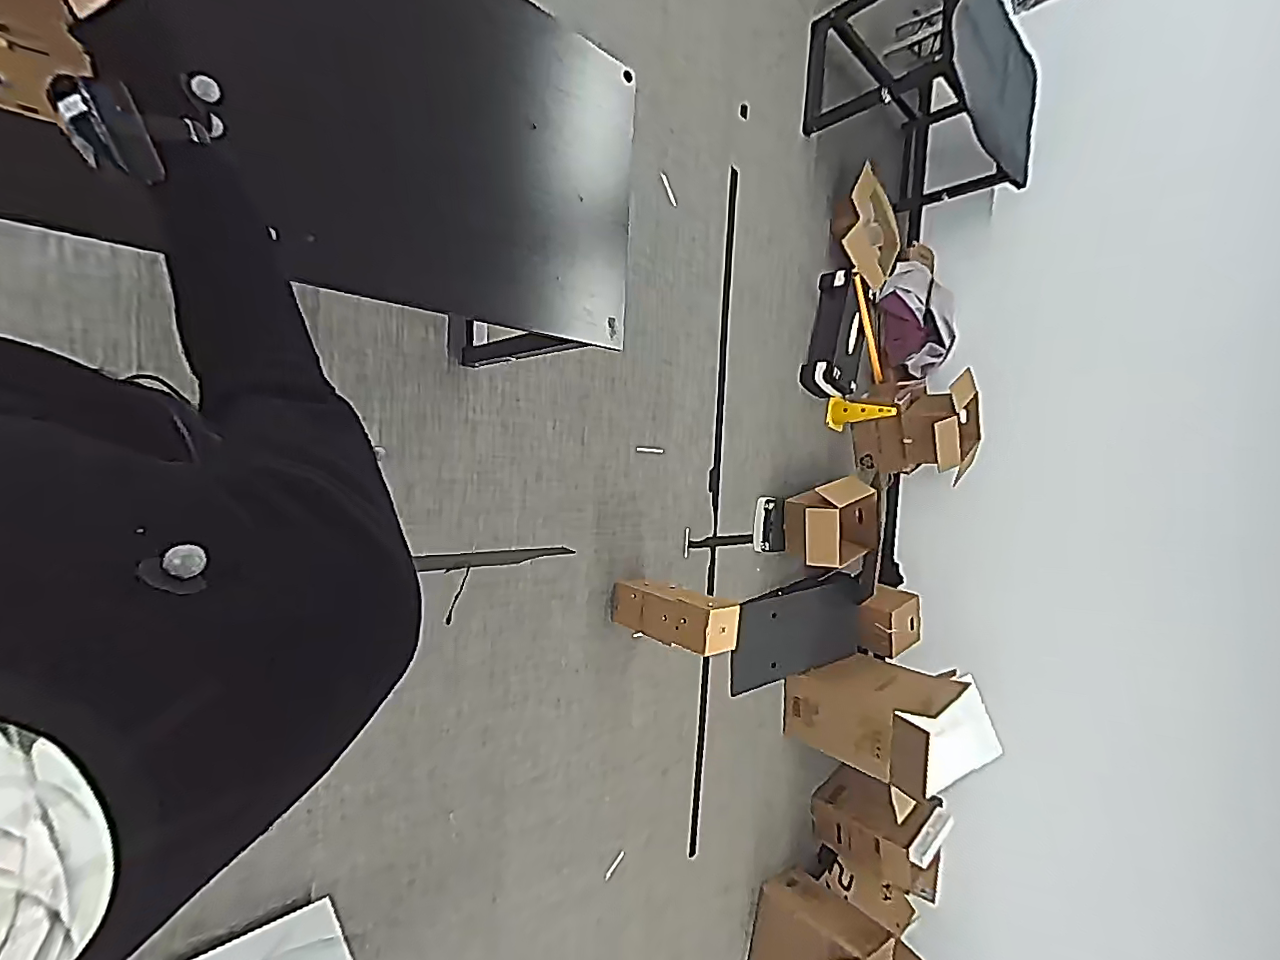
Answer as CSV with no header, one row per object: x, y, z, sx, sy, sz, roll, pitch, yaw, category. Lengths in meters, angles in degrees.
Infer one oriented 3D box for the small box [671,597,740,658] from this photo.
0.240,0.531,1.976,0.179,0.176,0.168,4,93,-42,small box

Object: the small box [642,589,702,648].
0.125,0.528,2.092,0.168,0.176,0.179,1,95,-43,small box

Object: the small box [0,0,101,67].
-0.527,-0.474,0.406,0.168,0.176,0.179,-1,95,-42,small box

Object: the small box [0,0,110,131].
-0.639,-0.484,0.528,0.168,0.176,0.179,-2,96,-42,small box
